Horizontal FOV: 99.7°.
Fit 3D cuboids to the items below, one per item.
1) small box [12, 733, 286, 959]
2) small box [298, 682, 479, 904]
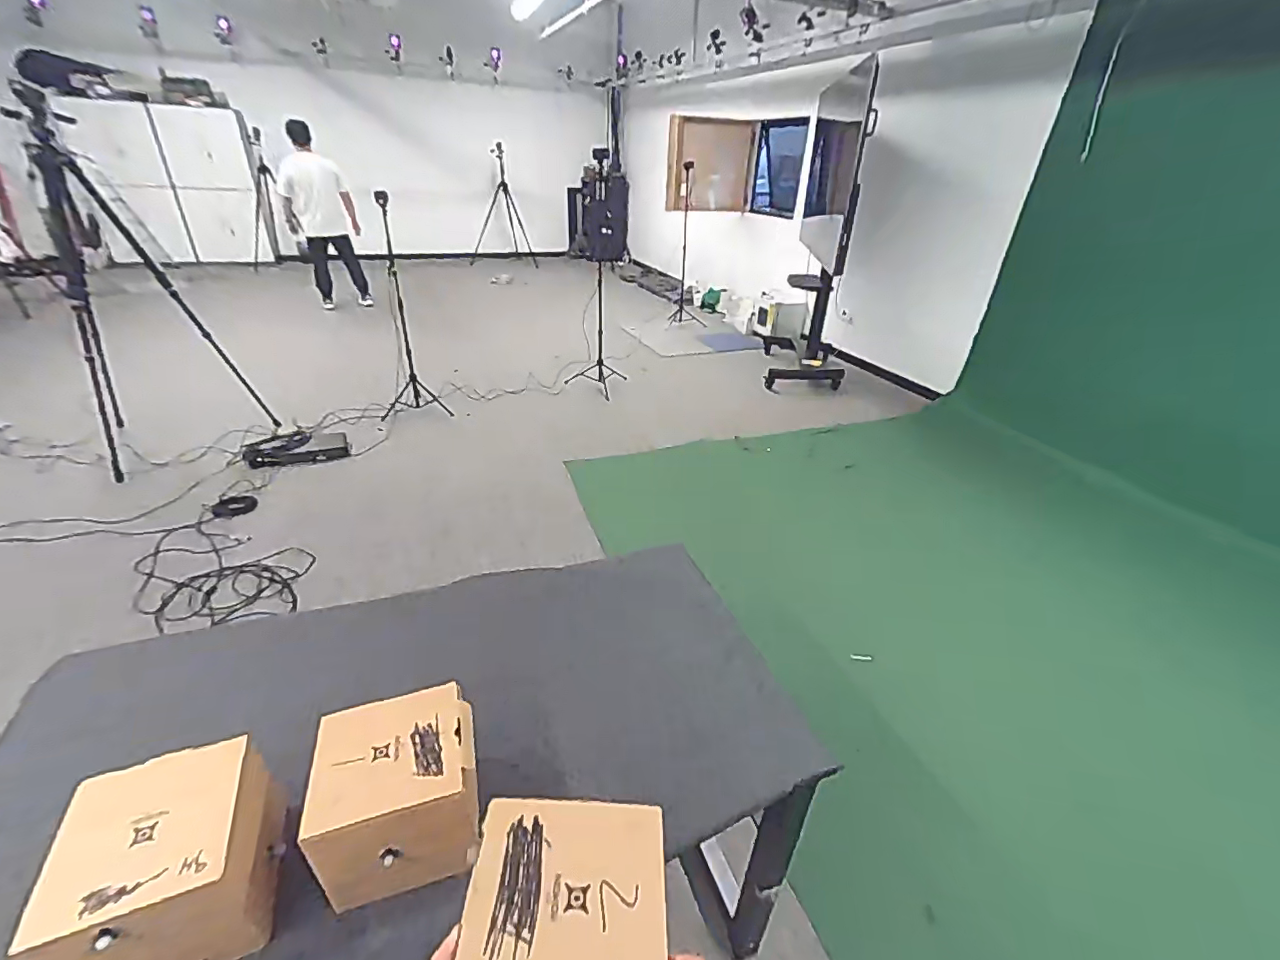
[{"bbox_3d":[-0.535,0.440,0.627,0.168,0.176,0.179,-11,33,-20],"label":"small box"},{"bbox_3d":[-0.310,0.403,0.708,0.179,0.176,0.168,-9,31,-15],"label":"small box"}]
